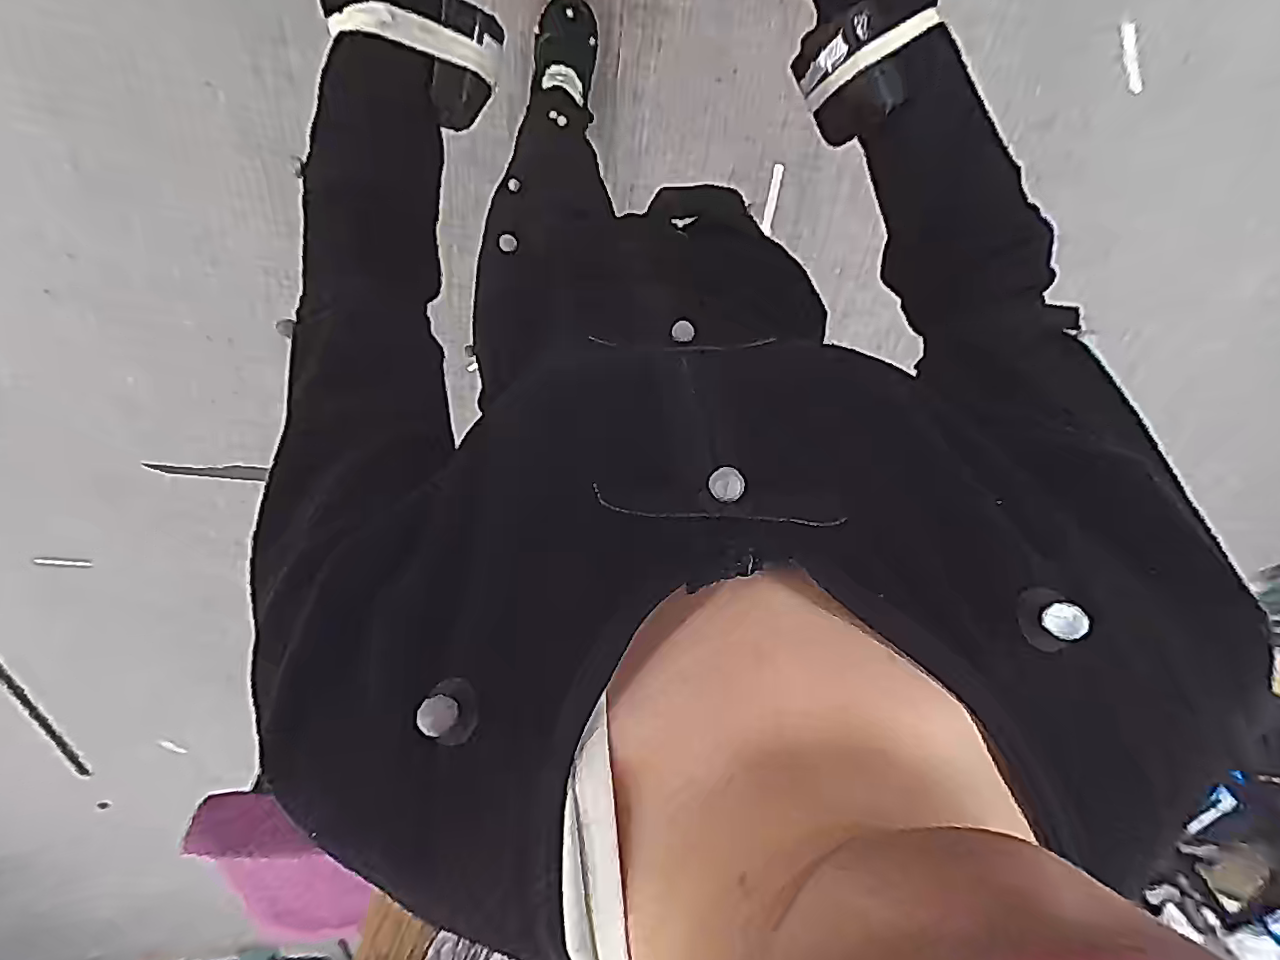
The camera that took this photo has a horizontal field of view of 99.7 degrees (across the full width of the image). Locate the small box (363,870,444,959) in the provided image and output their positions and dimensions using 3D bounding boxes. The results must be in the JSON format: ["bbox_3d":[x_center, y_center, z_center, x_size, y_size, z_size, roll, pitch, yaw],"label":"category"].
[{"bbox_3d":[-0.637,1.188,1.470,0.168,0.176,0.179,7,124,-10],"label":"small box"}]

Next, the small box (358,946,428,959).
[{"bbox_3d":[-0.628,1.286,1.338,0.168,0.176,0.179,7,124,-11],"label":"small box"}]
